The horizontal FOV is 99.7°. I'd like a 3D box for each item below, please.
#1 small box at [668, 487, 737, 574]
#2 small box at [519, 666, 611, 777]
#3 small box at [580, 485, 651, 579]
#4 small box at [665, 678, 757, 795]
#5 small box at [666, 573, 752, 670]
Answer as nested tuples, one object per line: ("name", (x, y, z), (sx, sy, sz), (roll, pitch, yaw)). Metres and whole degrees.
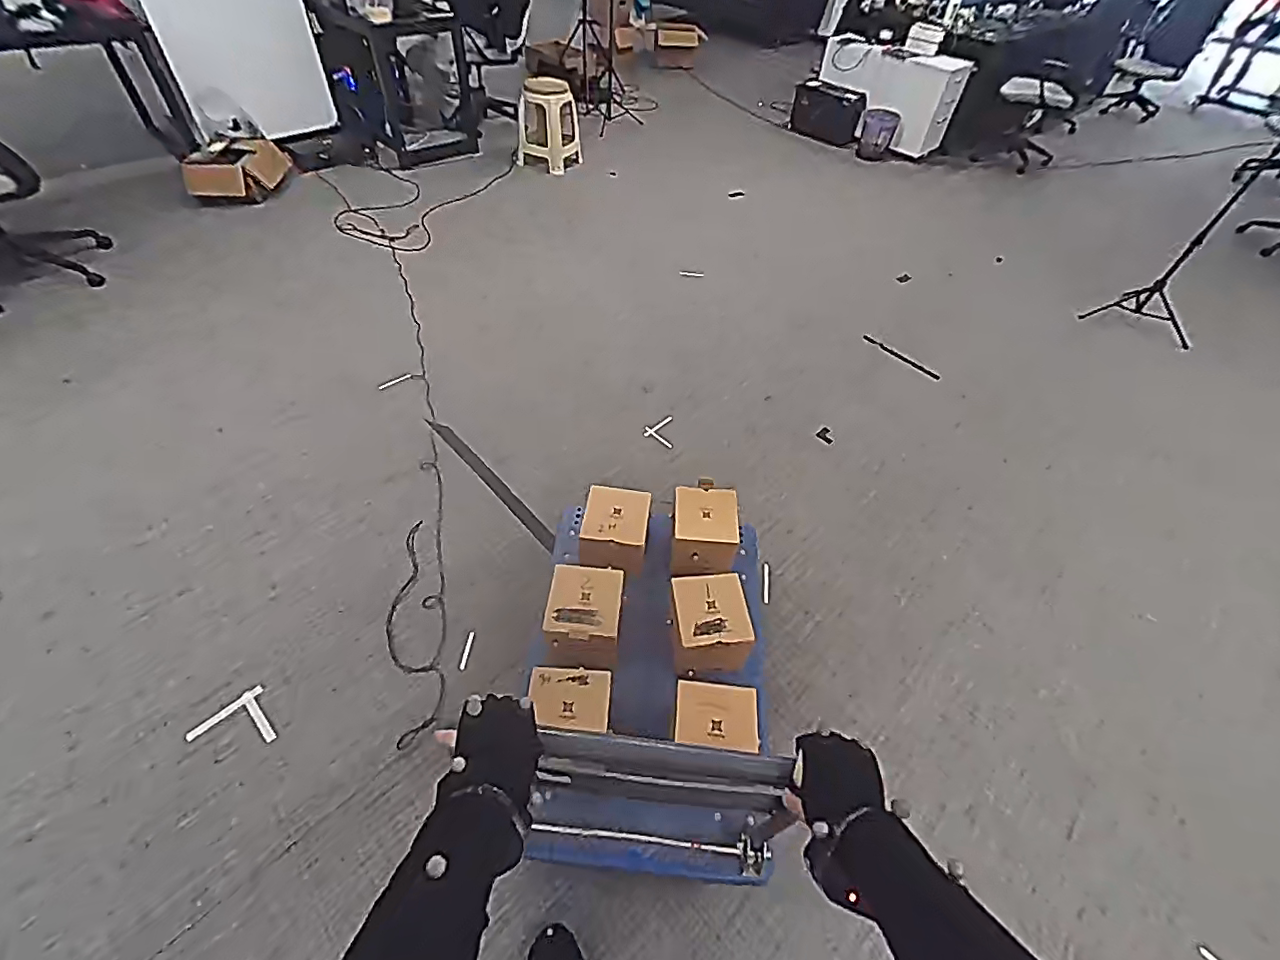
("small box", (0.167, 0.142, 1.483), (0.168, 0.176, 0.179), (4, 49, -1))
("small box", (-0.150, 0.512, 1.137), (0.168, 0.176, 0.179), (5, 49, -2))
("small box", (-0.067, 0.142, 1.461), (0.168, 0.176, 0.179), (8, 50, 2))
("small box", (0.146, 0.543, 1.137), (0.168, 0.176, 0.179), (8, 48, 1))
("small box", (0.158, 0.347, 1.305), (0.168, 0.176, 0.179), (-2, 49, -7))
